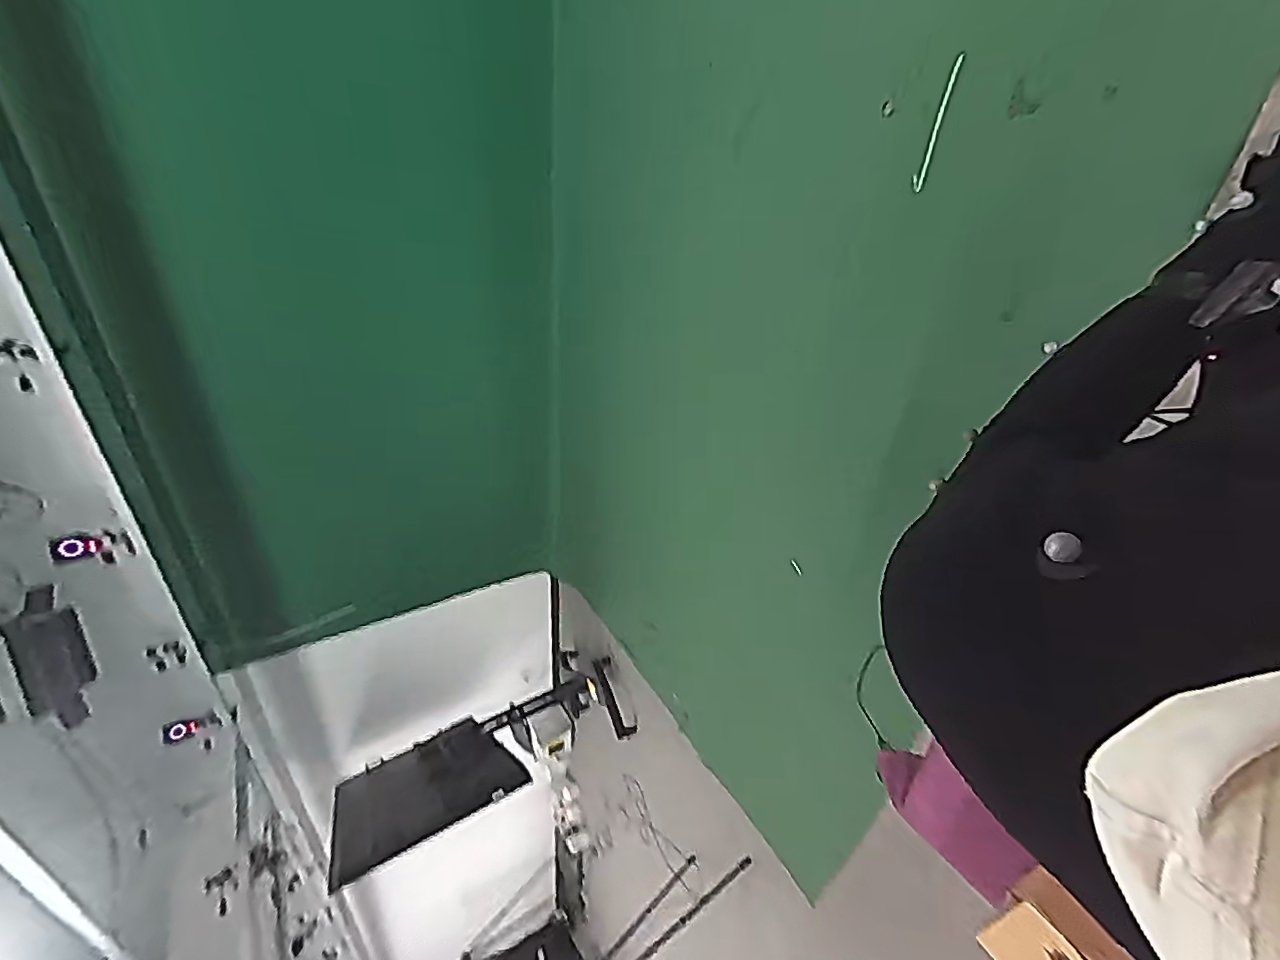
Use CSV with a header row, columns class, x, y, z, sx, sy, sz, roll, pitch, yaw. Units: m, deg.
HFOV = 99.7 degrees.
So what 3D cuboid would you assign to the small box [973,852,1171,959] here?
class,x,y,z,sx,sy,sz,roll,pitch,yaw
small box,0.684,0.741,0.858,0.168,0.176,0.179,45,138,41
